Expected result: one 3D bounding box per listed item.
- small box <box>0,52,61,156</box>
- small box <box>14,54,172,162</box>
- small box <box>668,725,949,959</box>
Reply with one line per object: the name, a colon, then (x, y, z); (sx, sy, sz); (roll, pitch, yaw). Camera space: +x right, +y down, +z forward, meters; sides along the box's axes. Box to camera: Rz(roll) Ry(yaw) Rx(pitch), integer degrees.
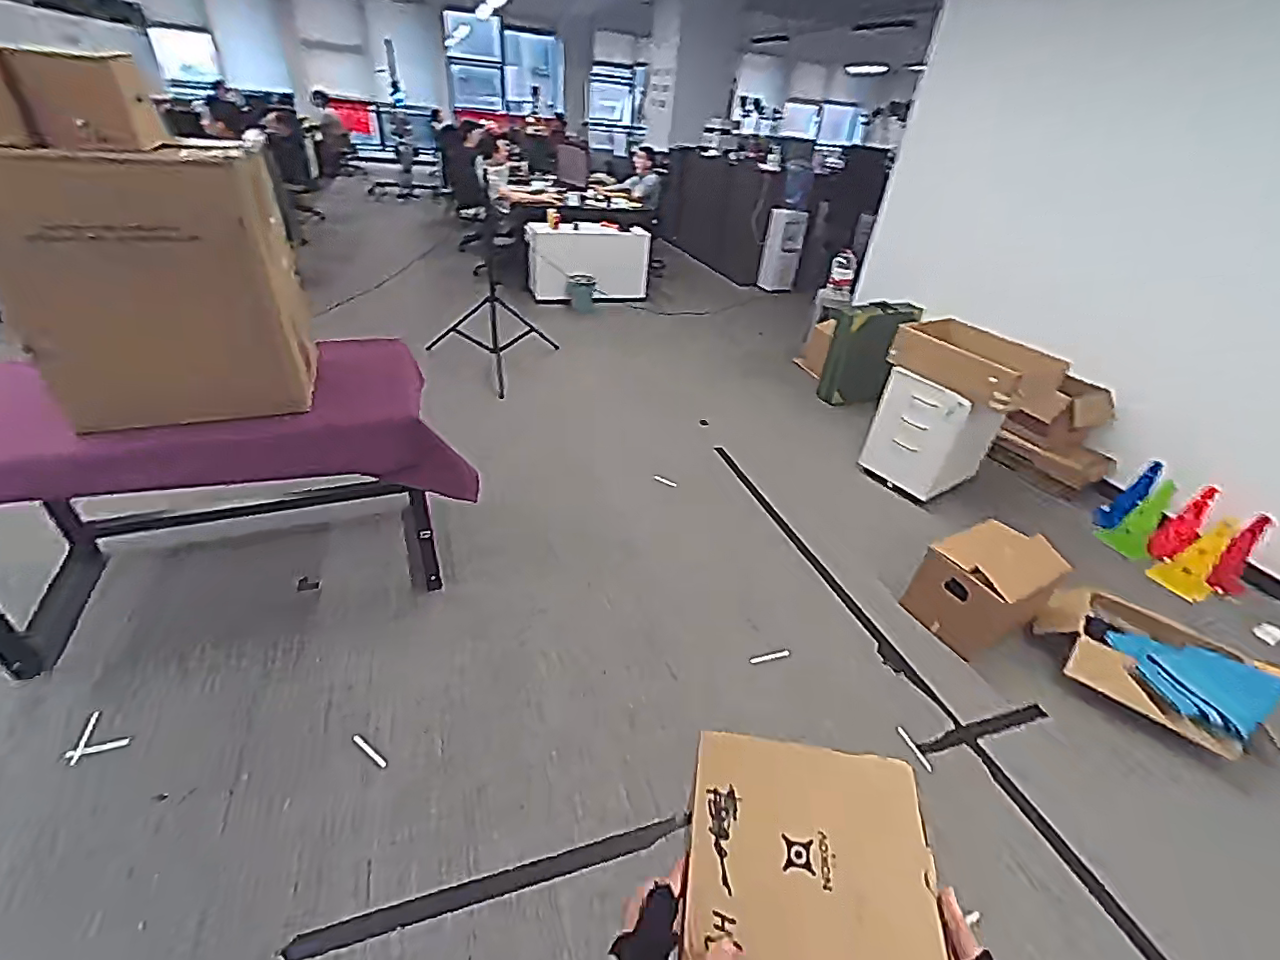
small box: (-1.314, -0.749, 1.067); (0.179, 0.176, 0.168); (-9, 37, -24)
small box: (-1.159, -0.802, 1.168); (0.168, 0.176, 0.179); (-8, 39, -19)
small box: (0.123, 0.335, 0.446); (0.179, 0.176, 0.168); (7, 40, 7)
